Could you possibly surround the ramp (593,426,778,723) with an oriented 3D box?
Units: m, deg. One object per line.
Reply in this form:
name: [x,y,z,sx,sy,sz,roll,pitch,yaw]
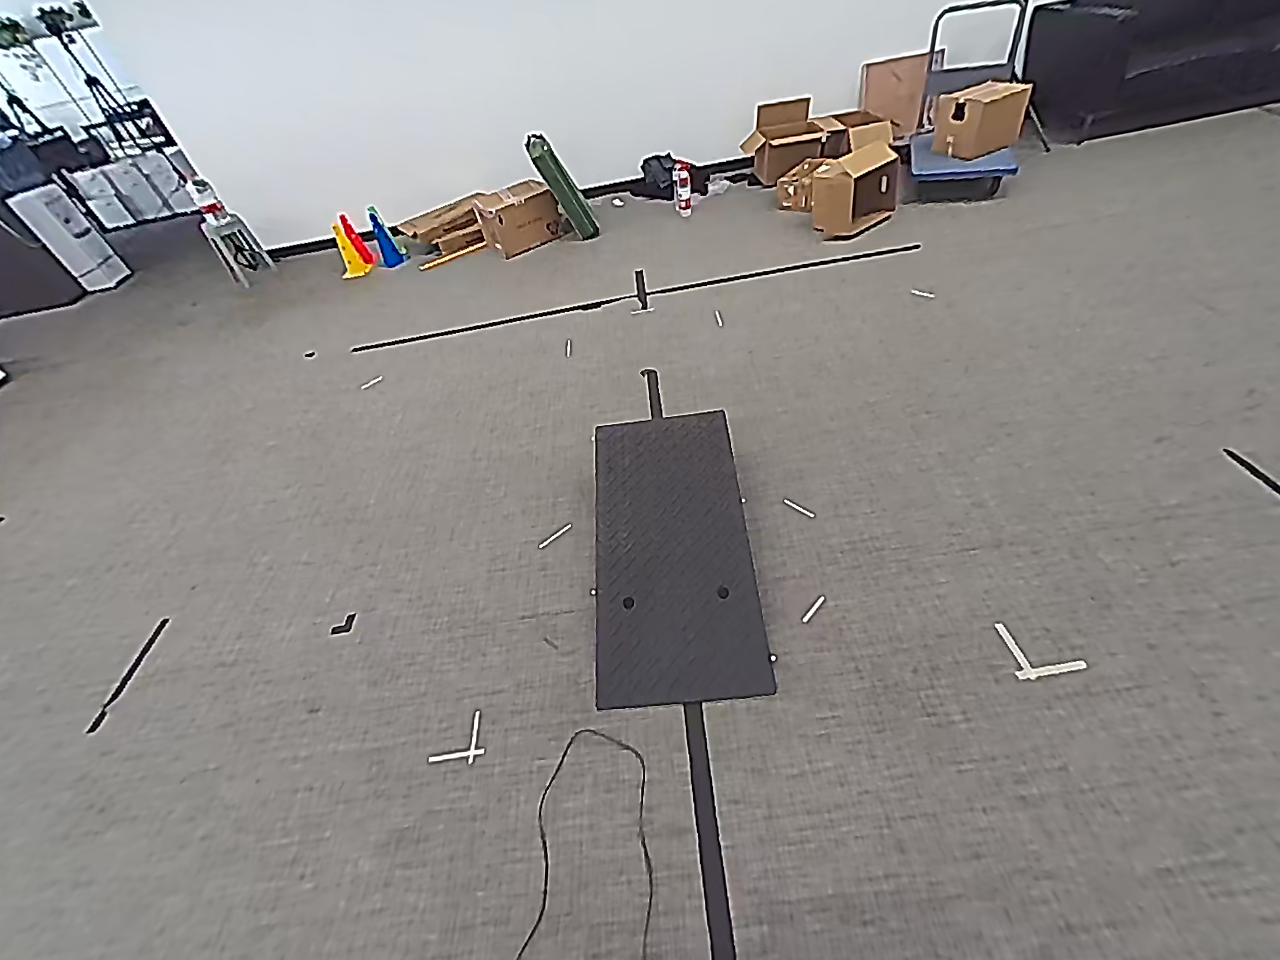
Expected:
ramp: [0.100,0.233,1.753,0.509,0.206,0.991,-9,43,3]
